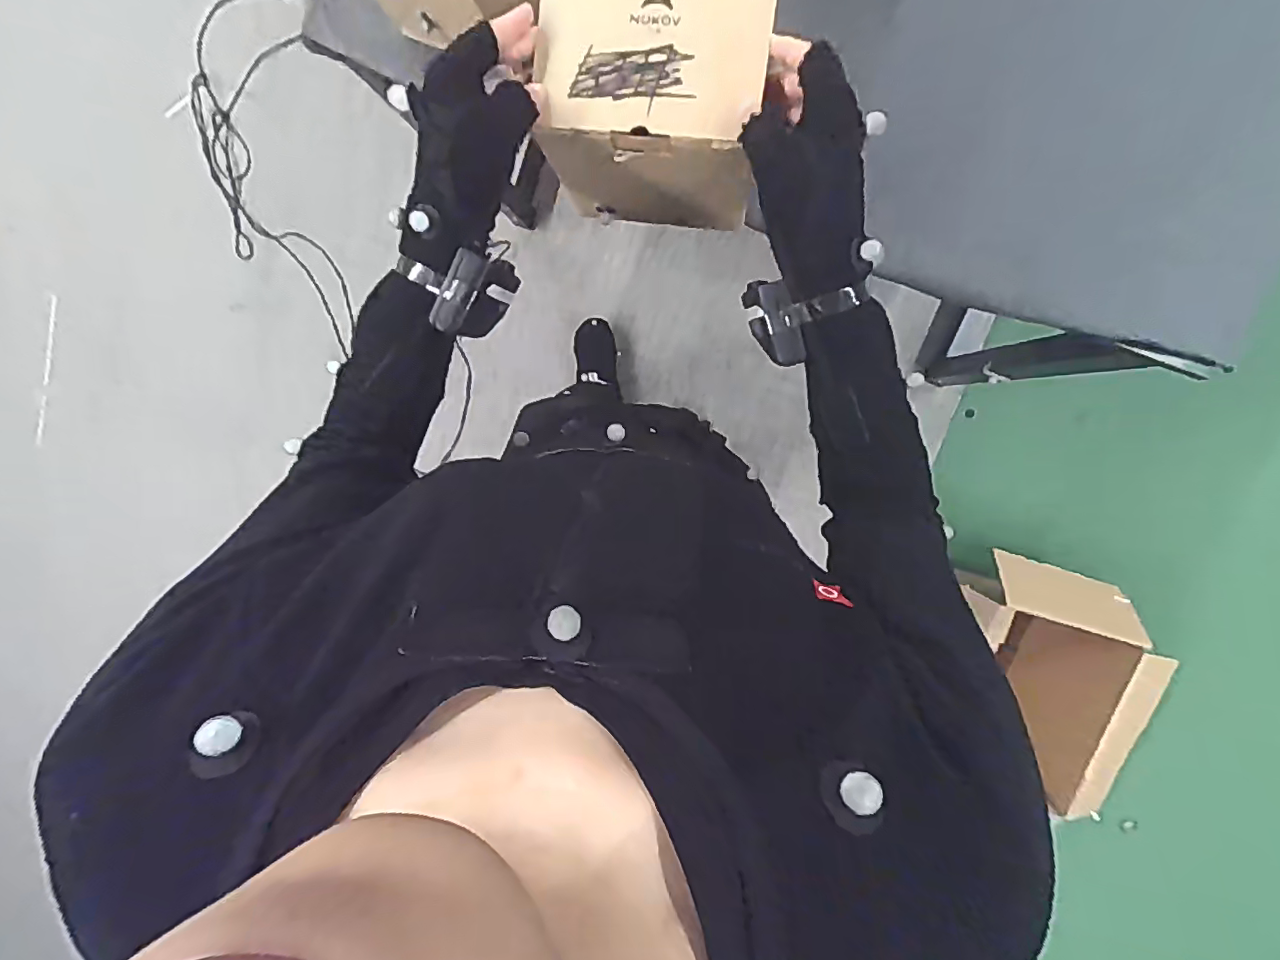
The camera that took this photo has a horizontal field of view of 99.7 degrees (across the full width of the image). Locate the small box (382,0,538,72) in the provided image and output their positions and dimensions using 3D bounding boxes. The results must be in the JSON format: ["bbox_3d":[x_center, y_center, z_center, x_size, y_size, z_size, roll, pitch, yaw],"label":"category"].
[{"bbox_3d":[-0.207,-0.606,0.588,0.168,0.176,0.179,22,100,3],"label":"small box"}]

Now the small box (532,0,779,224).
[{"bbox_3d":[0.022,-0.337,0.454,0.168,0.176,0.179,9,96,5],"label":"small box"}]
